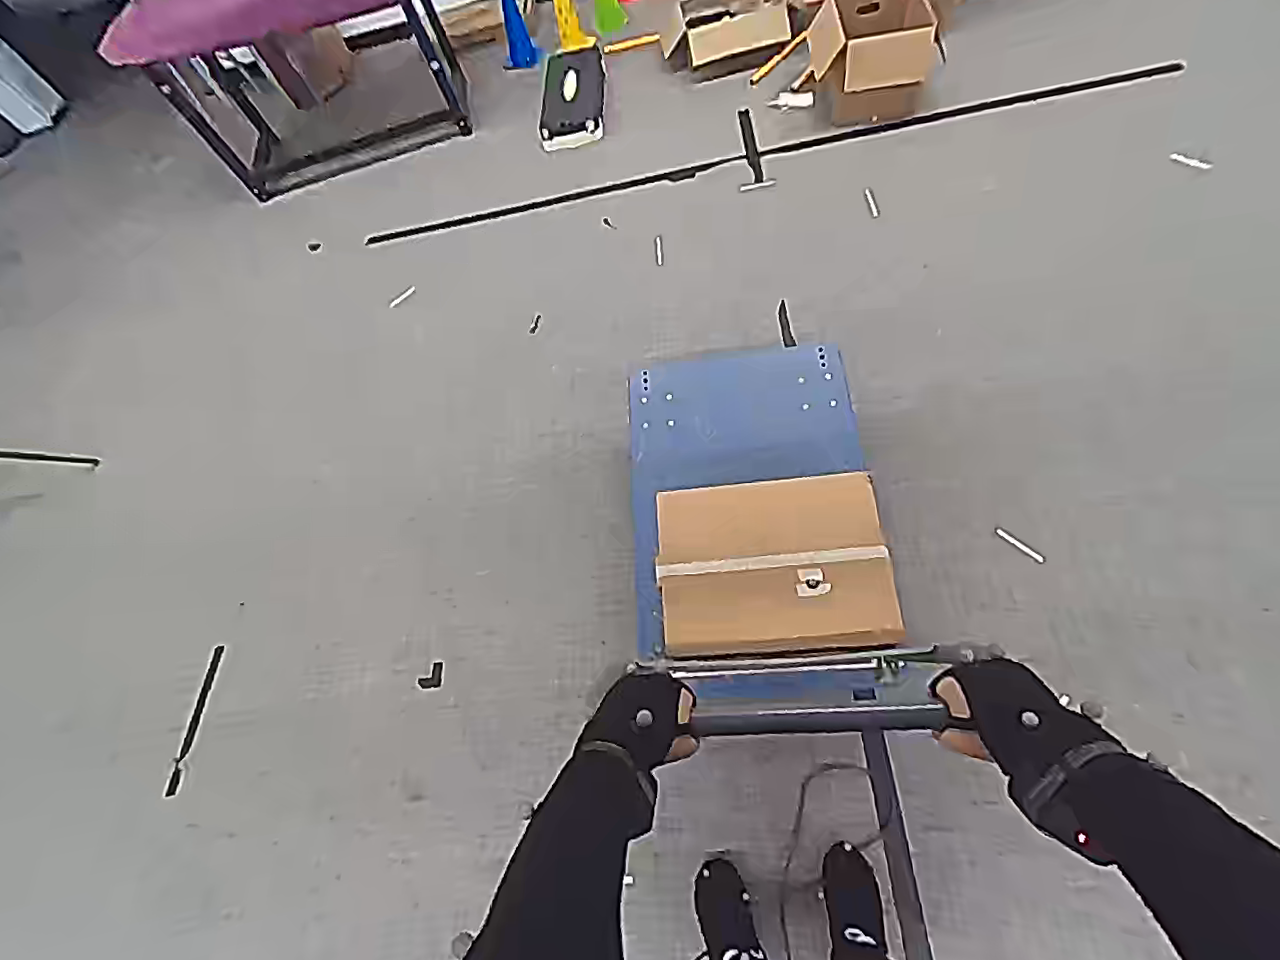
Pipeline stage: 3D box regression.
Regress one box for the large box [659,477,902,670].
[{"bbox_3d":[0.264,0.215,1.133,0.408,0.320,0.320,-6,68,7],"label":"large box"}]
